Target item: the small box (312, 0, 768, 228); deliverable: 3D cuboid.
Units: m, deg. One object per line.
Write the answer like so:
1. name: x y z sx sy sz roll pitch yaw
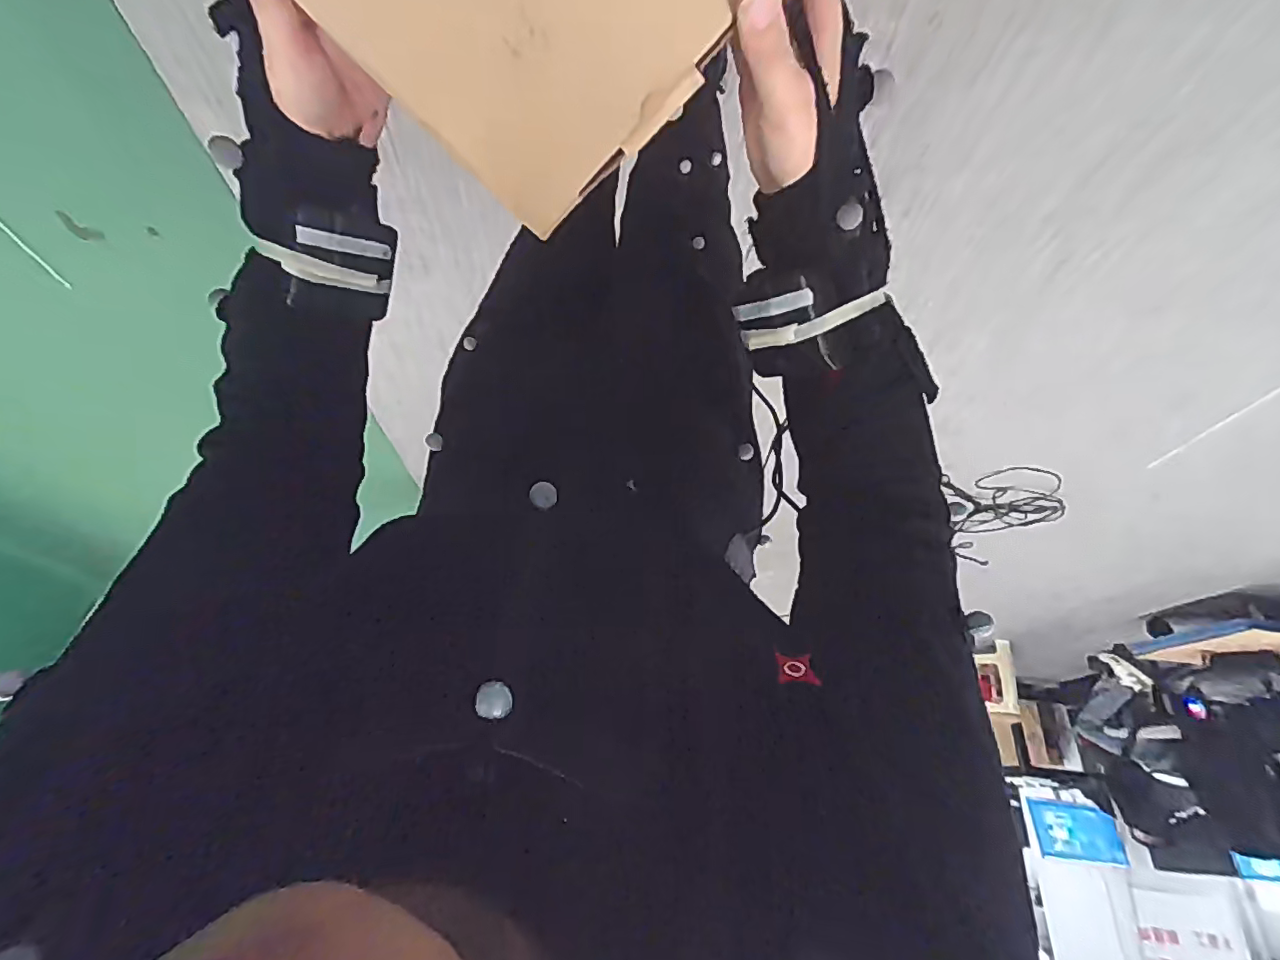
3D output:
1. small box: -0.046 -0.270 0.262 0.168 0.176 0.179 -35 123 28
